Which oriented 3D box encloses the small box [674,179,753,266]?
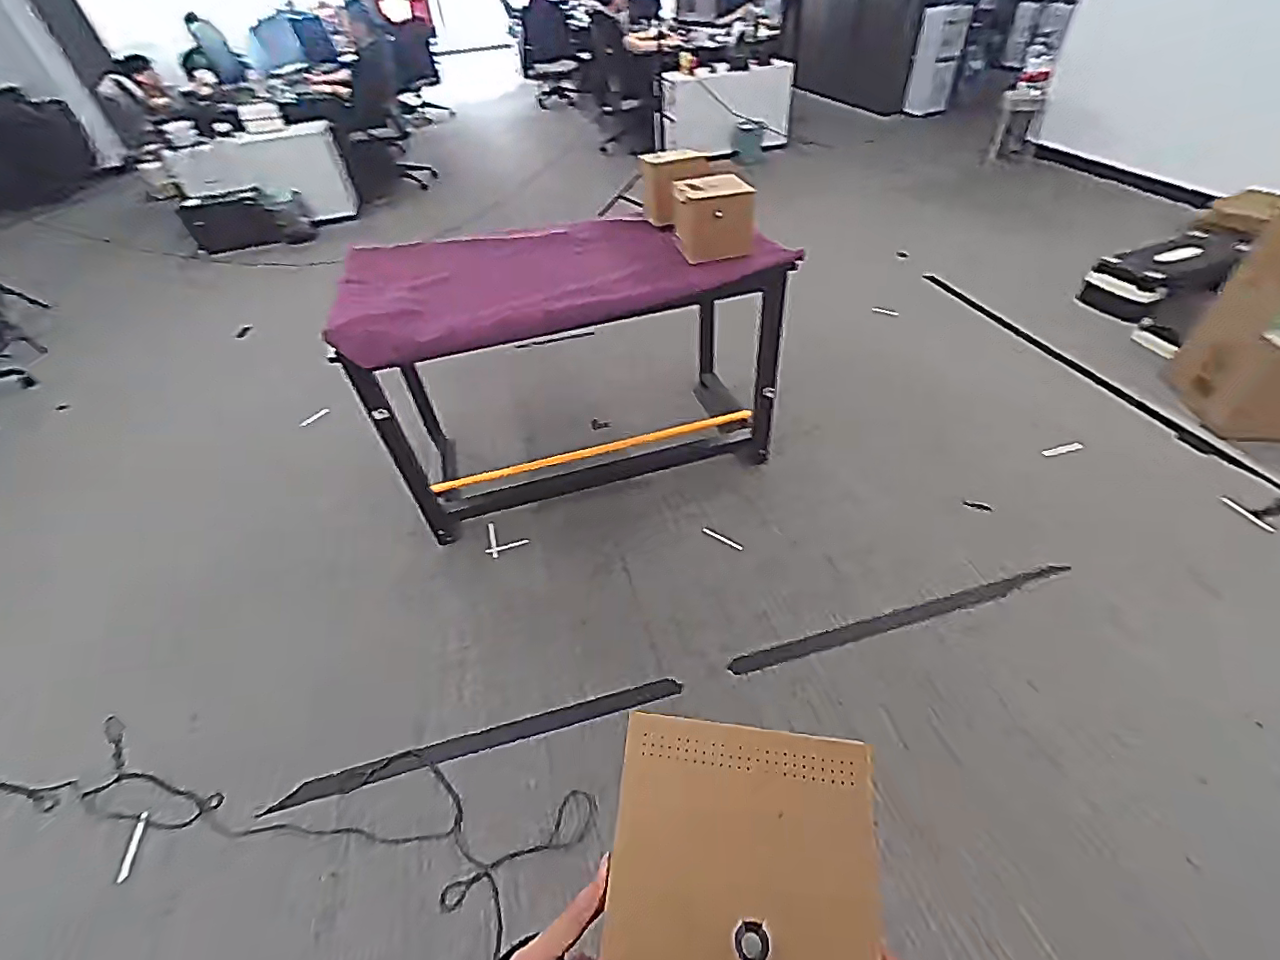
[{"bbox_3d":[0.201,-0.709,1.495,0.179,0.176,0.168,-12,43,-7],"label":"small box"}]
